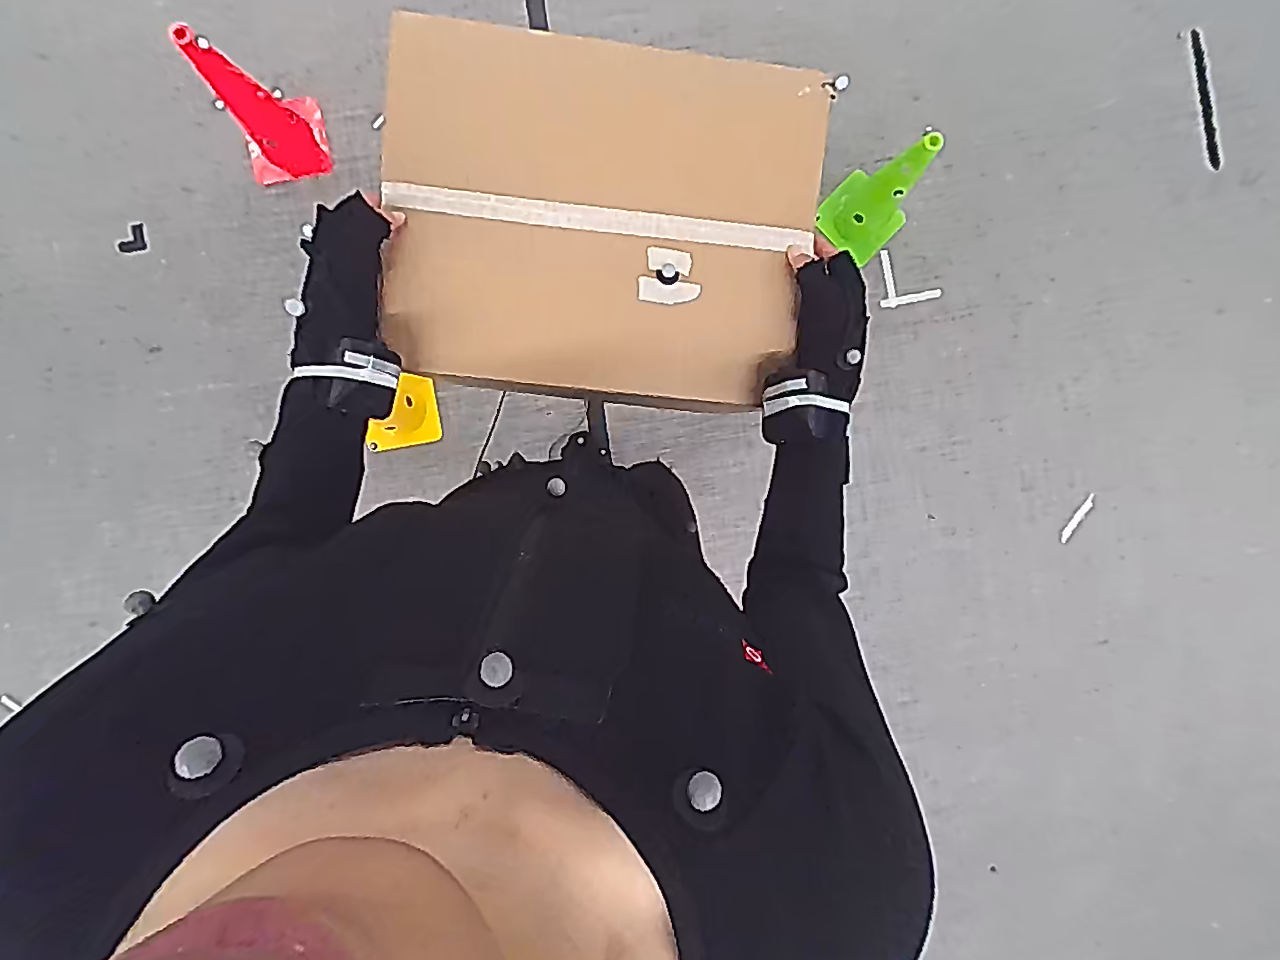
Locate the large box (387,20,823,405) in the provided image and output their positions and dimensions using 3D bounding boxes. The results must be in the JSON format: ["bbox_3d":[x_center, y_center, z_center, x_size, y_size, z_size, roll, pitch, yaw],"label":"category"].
[{"bbox_3d":[-0.045,-0.266,0.661,0.408,0.320,0.320,5,96,-4],"label":"large box"}]

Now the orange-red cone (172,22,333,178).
[{"bbox_3d":[-0.907,-0.889,1.237,0.198,0.360,0.199,-12,94,-1],"label":"orange-red cone"}]

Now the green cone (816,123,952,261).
[{"bbox_3d":[0.620,-0.726,1.308,0.200,0.368,0.202,43,88,-4],"label":"green cone"}]
